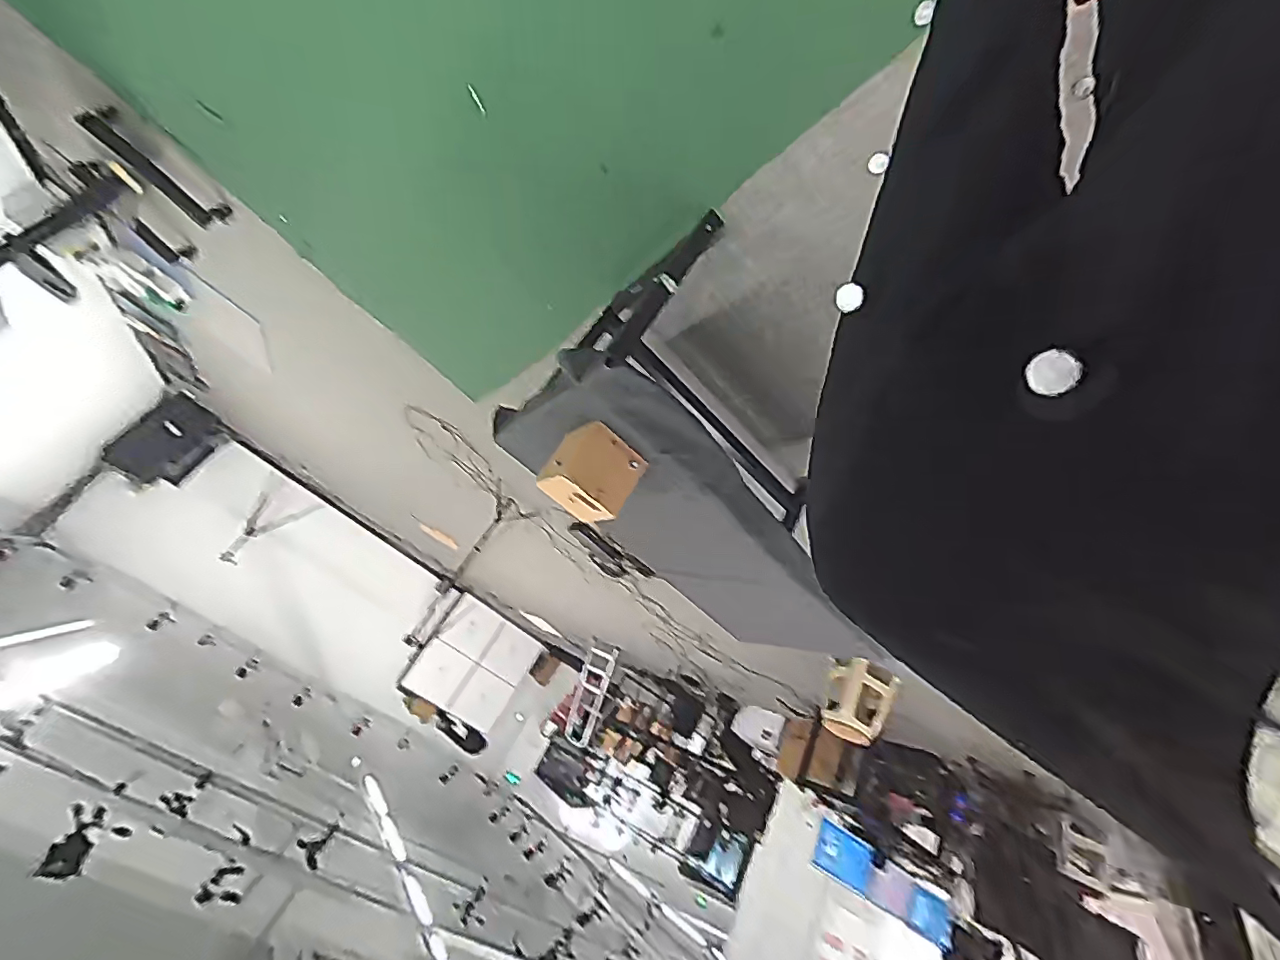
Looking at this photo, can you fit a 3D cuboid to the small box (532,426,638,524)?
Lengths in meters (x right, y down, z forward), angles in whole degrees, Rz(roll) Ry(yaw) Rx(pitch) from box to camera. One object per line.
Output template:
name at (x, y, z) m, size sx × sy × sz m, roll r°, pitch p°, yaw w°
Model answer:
small box at (-0.128, -0.011, 1.326) m, size 0.168 × 0.176 × 0.179 m, roll 42°, pitch 153°, yaw -21°
